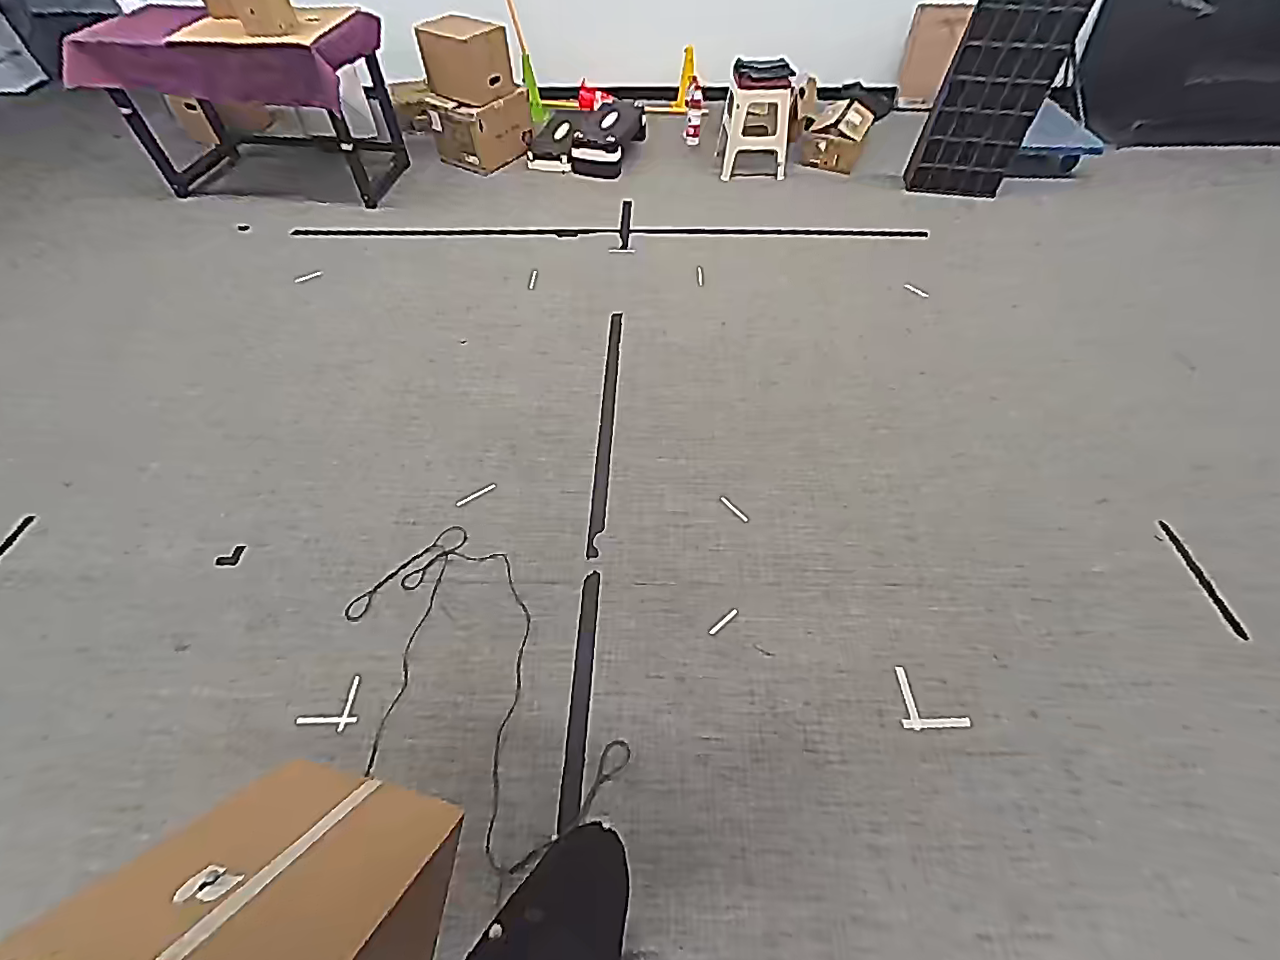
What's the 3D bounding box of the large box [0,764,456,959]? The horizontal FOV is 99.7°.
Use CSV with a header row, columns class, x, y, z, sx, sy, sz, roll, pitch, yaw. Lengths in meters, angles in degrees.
class,x,y,z,sx,sy,sz,roll,pitch,yaw
large box,-0.495,0.650,0.697,0.320,0.408,0.320,12,89,7
